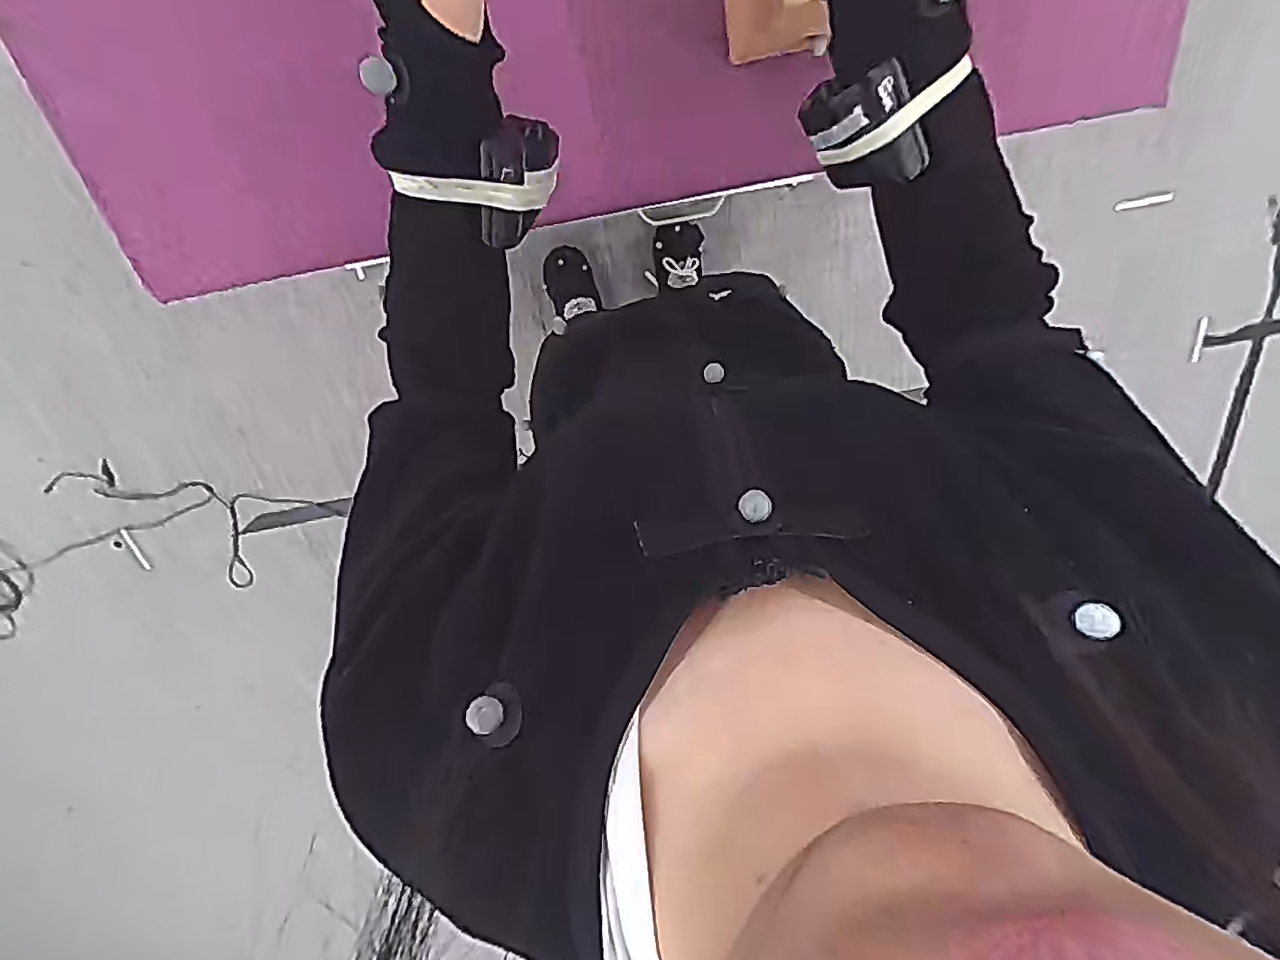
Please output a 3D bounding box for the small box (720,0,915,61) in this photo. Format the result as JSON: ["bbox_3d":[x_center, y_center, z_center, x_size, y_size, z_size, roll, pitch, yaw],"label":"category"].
[{"bbox_3d":[0.163,-0.510,0.474,0.168,0.176,0.179,-12,115,0],"label":"small box"}]
